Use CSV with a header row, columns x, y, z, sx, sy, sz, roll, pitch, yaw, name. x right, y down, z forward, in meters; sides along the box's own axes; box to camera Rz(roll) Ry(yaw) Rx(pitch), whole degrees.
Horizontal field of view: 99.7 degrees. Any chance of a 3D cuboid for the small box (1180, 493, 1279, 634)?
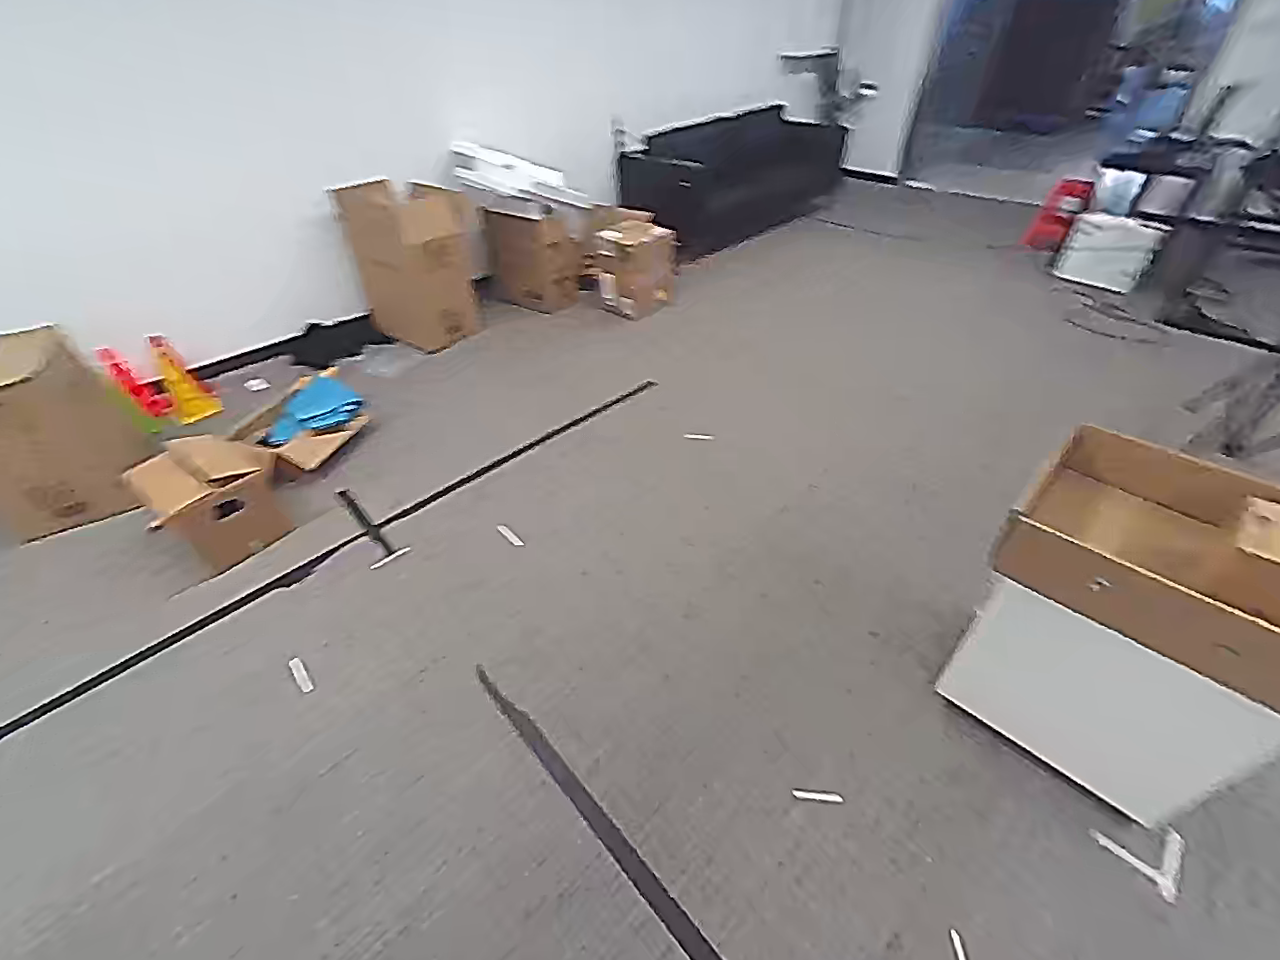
x,y,z,sx,sy,sz,roll,pitch,yaw,name
1.196,0.163,1.024,0.179,0.176,0.168,31,56,34,small box
